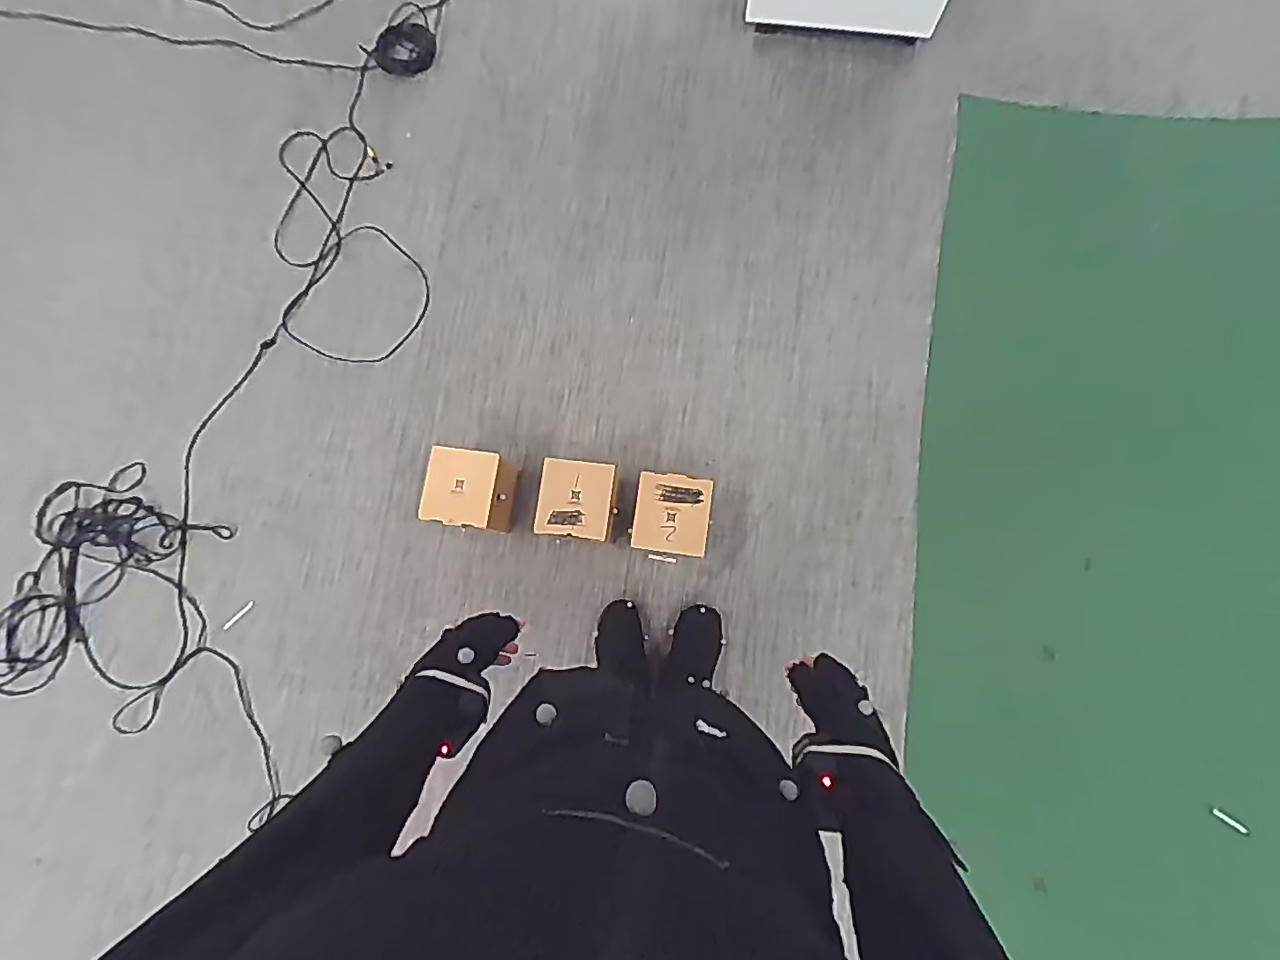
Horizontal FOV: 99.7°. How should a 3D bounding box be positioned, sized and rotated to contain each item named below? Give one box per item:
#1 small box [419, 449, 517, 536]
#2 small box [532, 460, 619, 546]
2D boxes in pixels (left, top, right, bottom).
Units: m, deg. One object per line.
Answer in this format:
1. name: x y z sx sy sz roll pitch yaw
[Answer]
1. small box: -0.411 0.035 1.327 0.168 0.176 0.179 7 81 5
2. small box: -0.147 0.062 1.302 0.168 0.176 0.179 7 79 6
